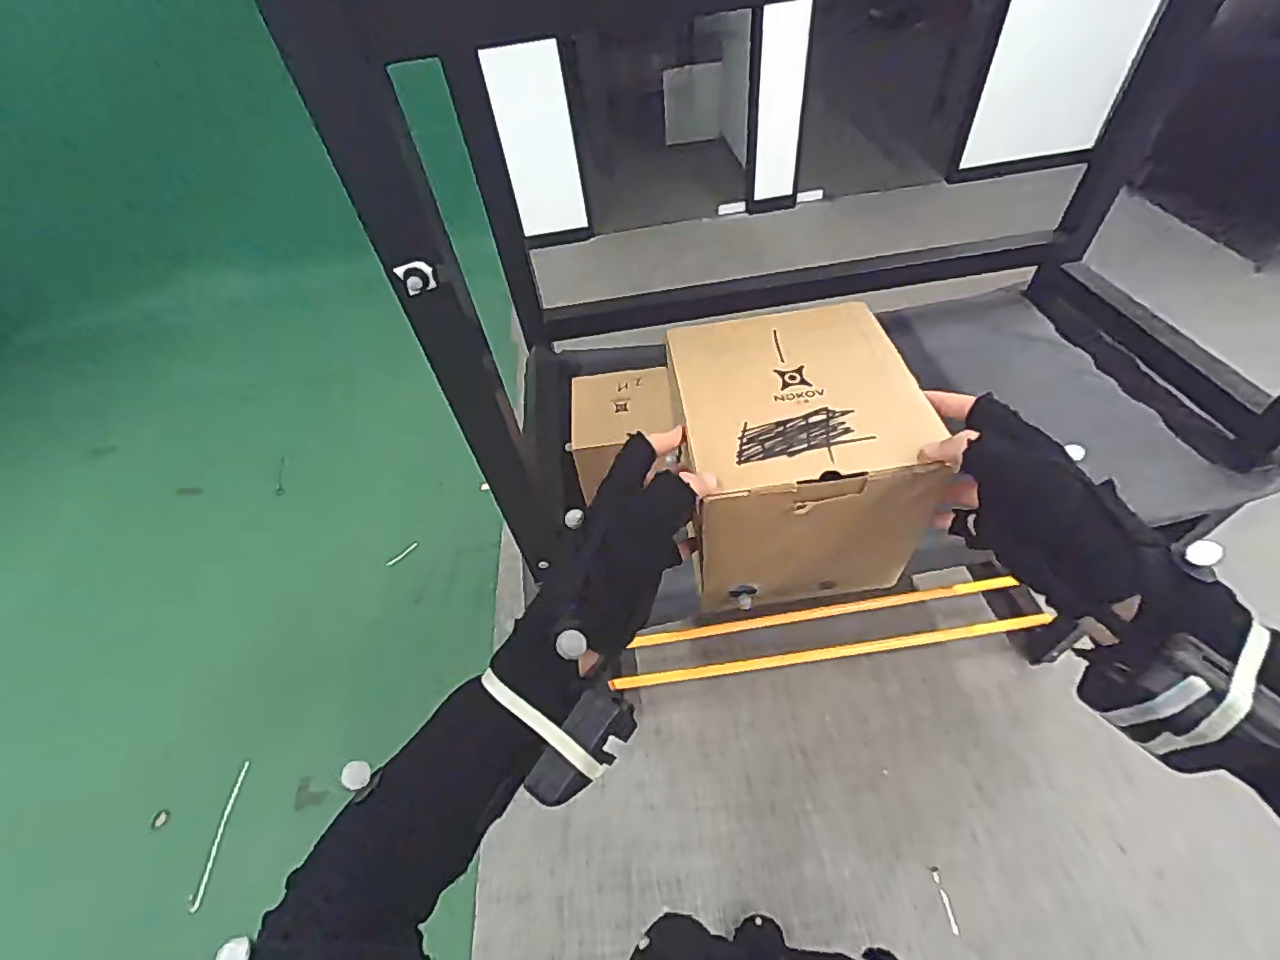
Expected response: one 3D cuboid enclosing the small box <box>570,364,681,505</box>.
[{"bbox_3d":[-0.022,-0.070,0.923,0.168,0.176,0.179,-6,49,1],"label":"small box"}]
